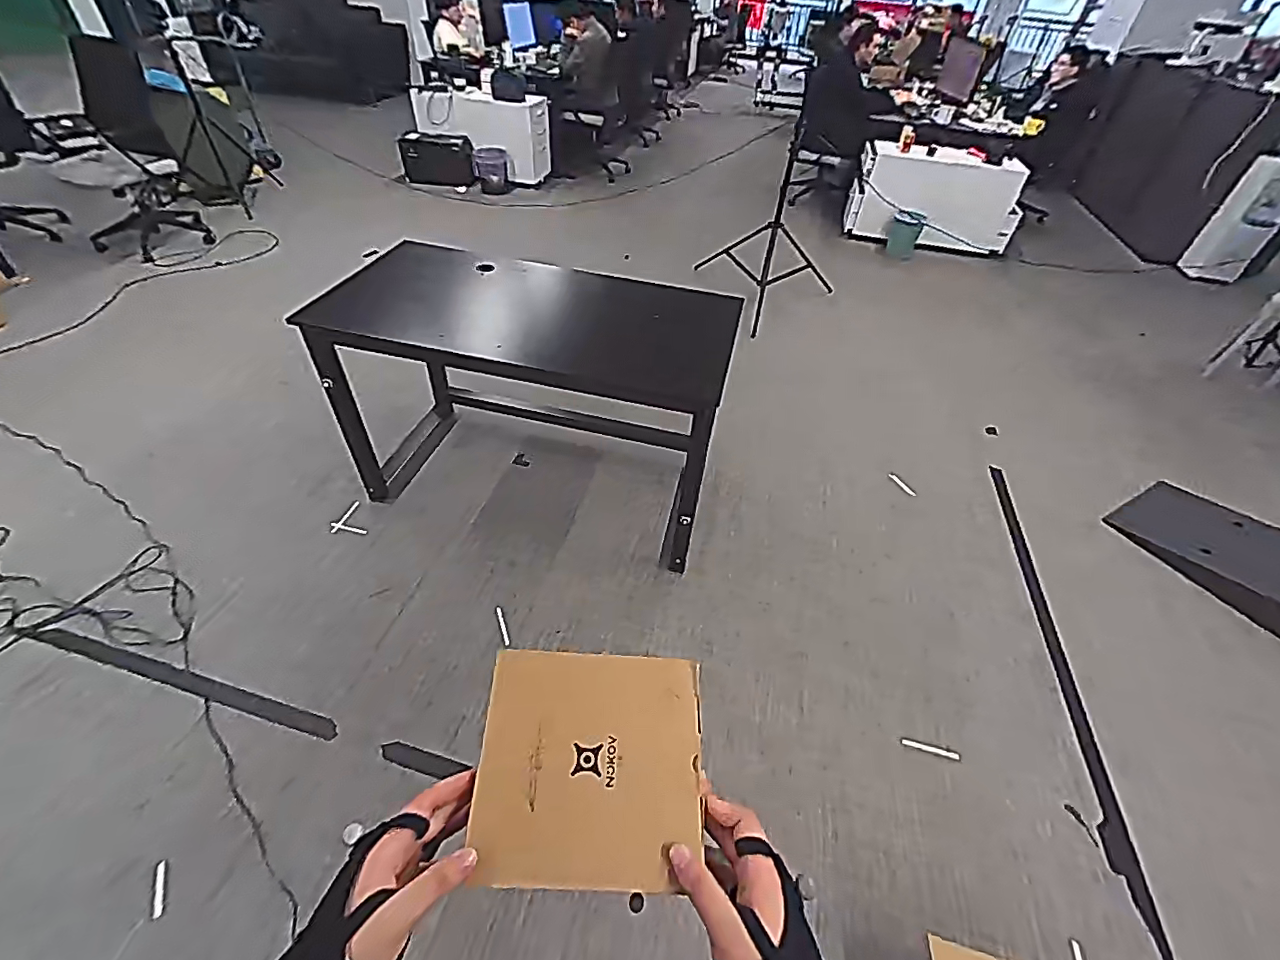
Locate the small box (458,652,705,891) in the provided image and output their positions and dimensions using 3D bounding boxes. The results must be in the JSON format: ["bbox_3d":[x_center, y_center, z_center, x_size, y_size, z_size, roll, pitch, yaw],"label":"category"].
[{"bbox_3d":[-0.045,0.265,0.489,0.179,0.176,0.168,2,54,-3],"label":"small box"}]
